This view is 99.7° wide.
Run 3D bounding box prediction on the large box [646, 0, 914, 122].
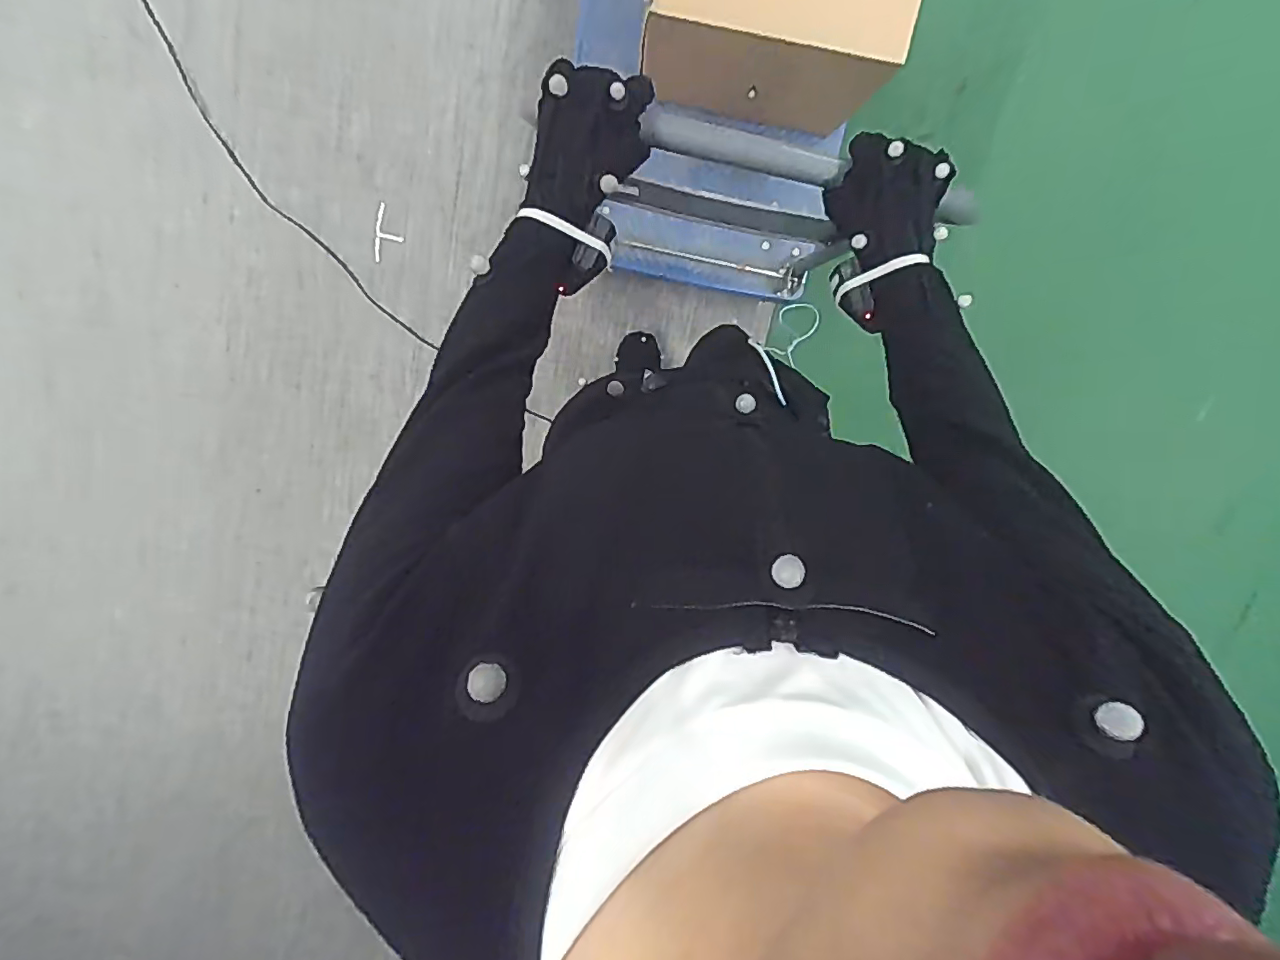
[{"bbox_3d":[0.231,-0.868,0.936,0.408,0.320,0.320,8,105,-3],"label":"large box"}]
